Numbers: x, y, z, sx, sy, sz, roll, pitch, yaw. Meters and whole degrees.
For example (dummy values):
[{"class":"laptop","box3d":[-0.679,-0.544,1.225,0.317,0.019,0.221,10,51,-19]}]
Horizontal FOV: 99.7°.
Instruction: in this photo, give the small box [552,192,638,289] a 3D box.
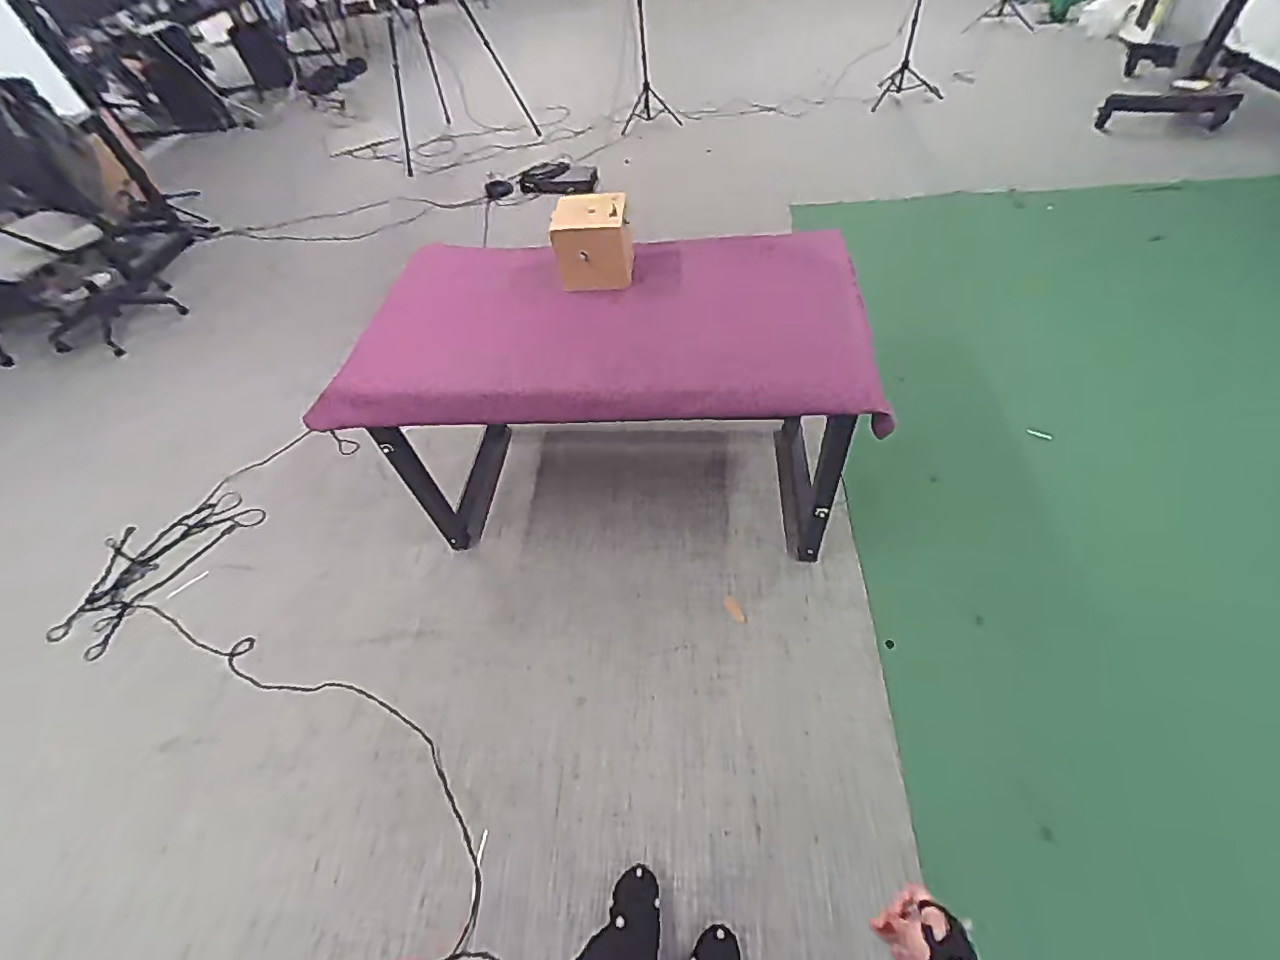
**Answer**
[{"class":"small box","box3d":[-0.107,-0.600,1.367,0.179,0.176,0.168,0,54,8]}]
